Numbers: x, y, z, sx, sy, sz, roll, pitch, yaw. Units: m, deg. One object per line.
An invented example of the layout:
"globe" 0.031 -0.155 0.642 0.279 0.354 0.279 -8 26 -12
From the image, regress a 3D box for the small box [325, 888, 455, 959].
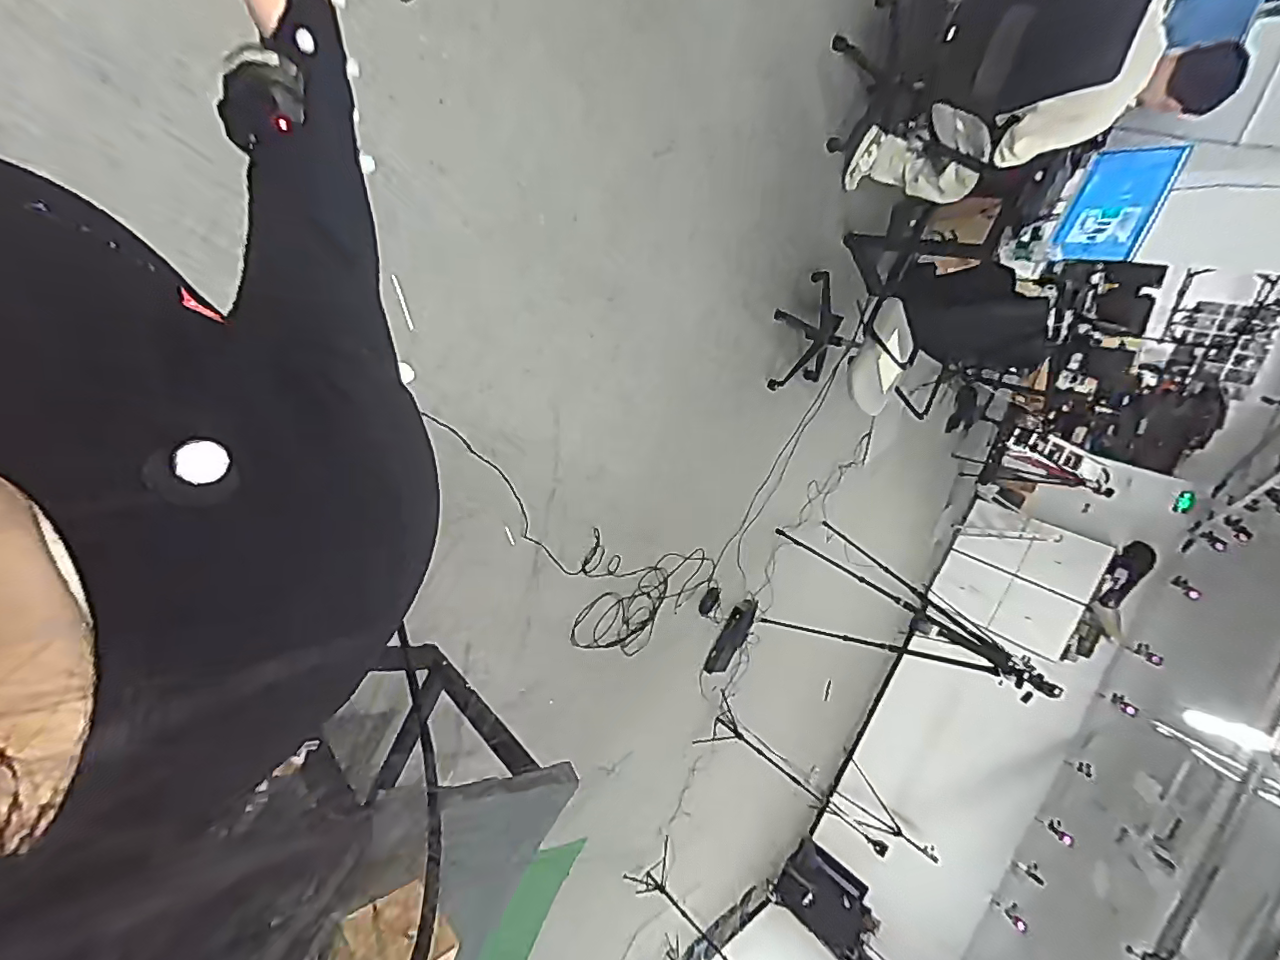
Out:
"small box" -0.502 0.969 1.068 0.179 0.176 0.168 5 106 -50
